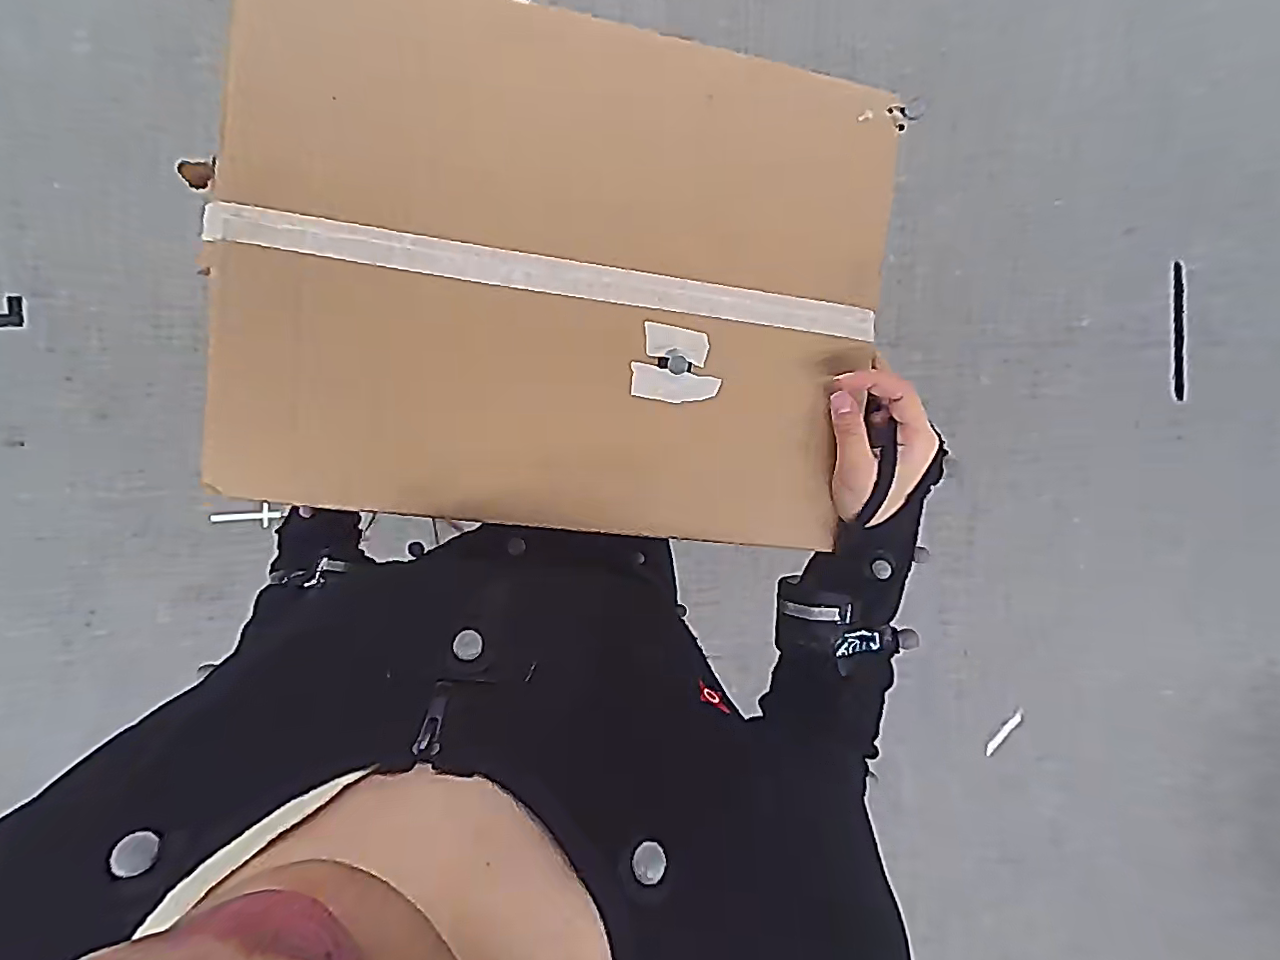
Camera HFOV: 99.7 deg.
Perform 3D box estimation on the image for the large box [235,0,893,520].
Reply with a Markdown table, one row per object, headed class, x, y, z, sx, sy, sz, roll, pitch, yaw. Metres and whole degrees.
| class | x | y | z | sx | sy | sz | roll | pitch | yaw |
| --- | --- | --- | --- | --- | --- | --- | --- | --- | --- |
| large box | -0.060 | -0.149 | 0.491 | 0.408 | 0.320 | 0.320 | 6 | 94 | -11 |
